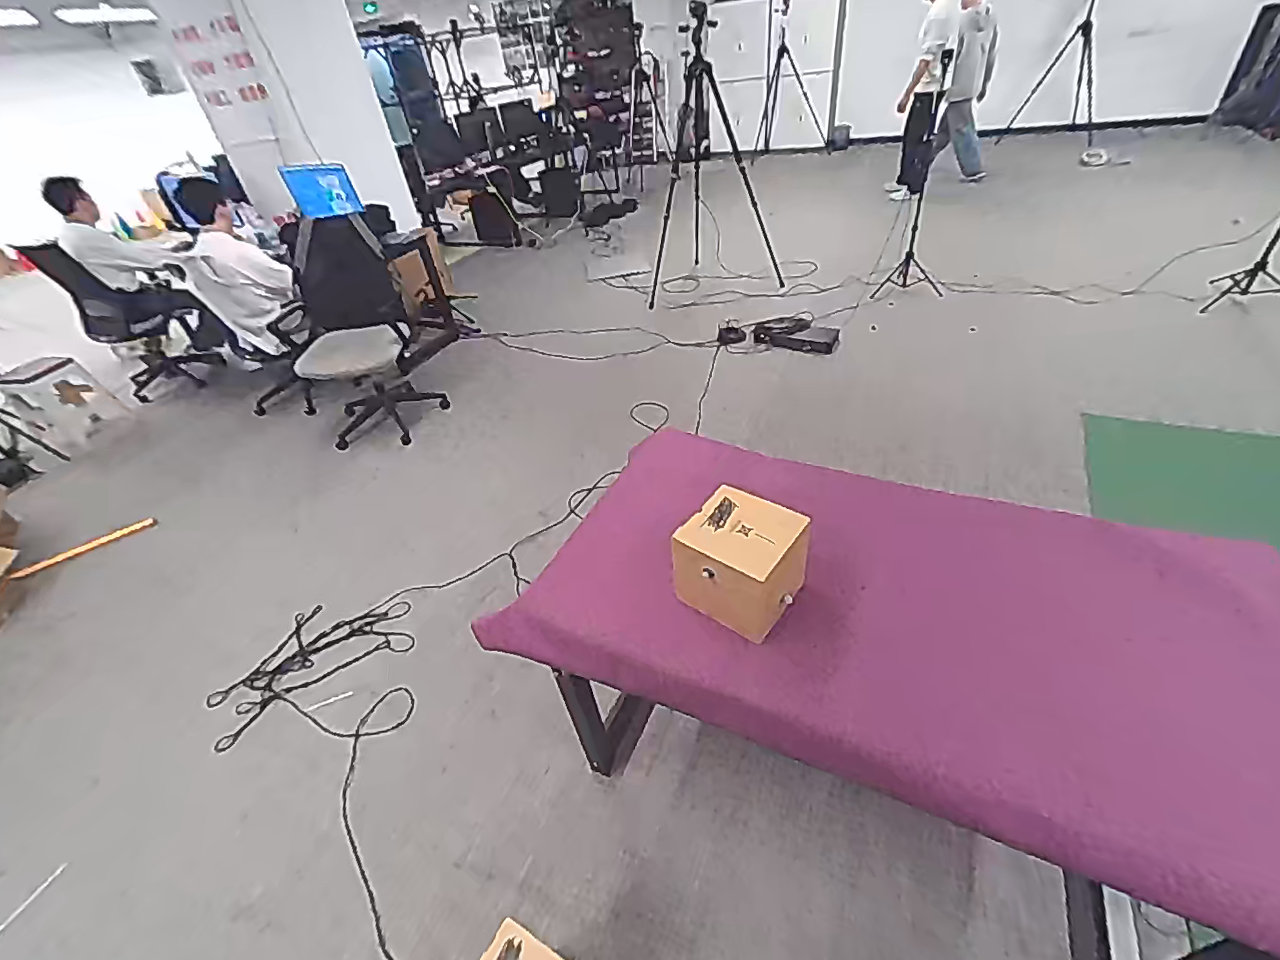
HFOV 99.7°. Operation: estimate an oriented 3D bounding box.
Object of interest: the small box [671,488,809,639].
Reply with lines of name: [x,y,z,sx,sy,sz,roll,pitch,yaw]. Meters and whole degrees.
small box: [0.174,0.147,0.954,0.179,0.176,0.168,24,48,33]
